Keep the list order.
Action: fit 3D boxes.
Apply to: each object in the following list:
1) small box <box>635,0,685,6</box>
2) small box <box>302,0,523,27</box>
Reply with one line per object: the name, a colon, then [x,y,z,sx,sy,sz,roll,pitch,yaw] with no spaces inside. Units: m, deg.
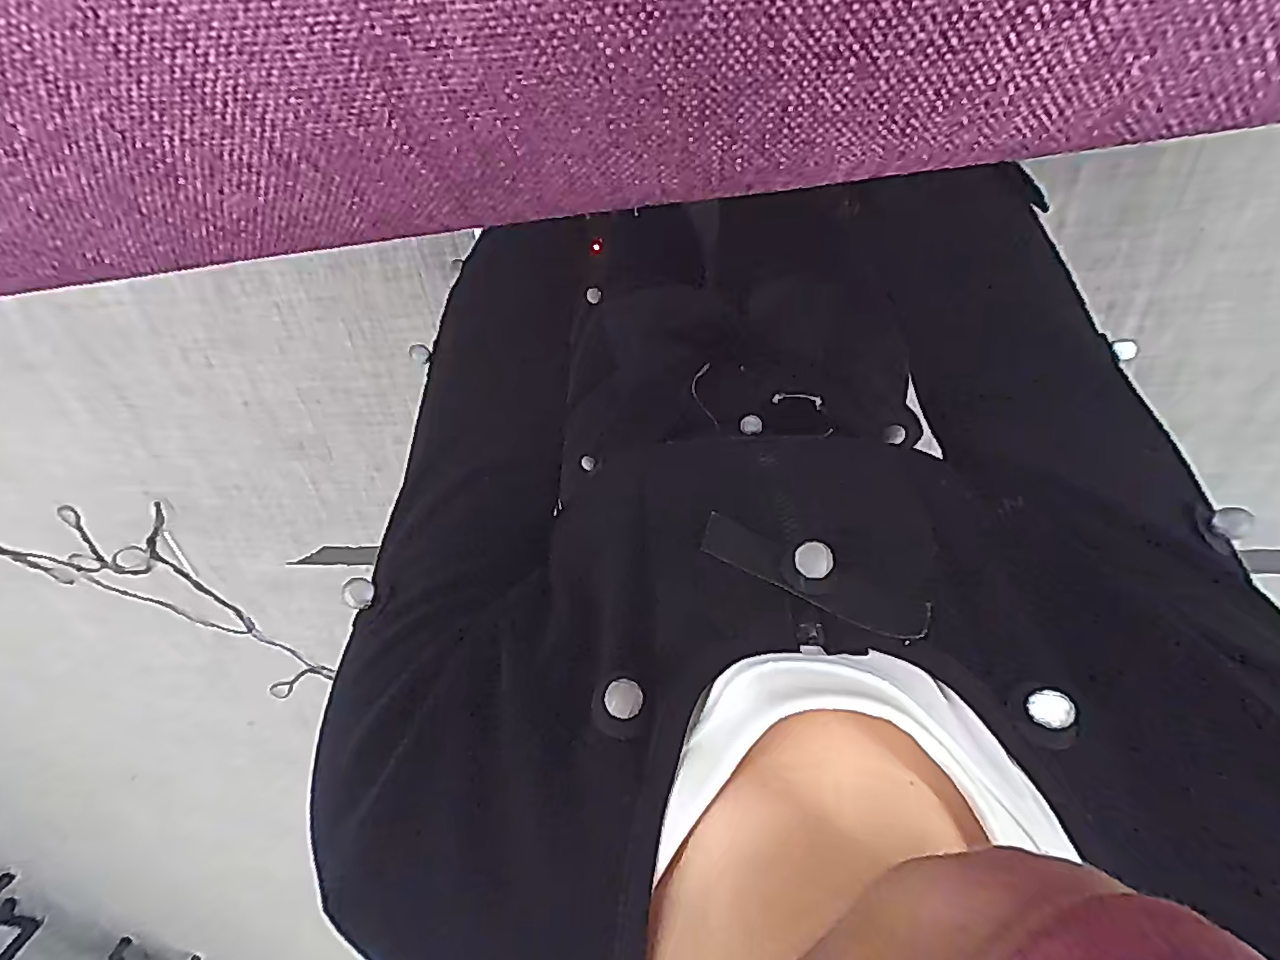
small box: [0.060,-0.478,0.404,0.179,0.176,0.168,-4,129,8]
small box: [-0.199,-0.513,0.459,0.179,0.176,0.168,-3,122,10]
